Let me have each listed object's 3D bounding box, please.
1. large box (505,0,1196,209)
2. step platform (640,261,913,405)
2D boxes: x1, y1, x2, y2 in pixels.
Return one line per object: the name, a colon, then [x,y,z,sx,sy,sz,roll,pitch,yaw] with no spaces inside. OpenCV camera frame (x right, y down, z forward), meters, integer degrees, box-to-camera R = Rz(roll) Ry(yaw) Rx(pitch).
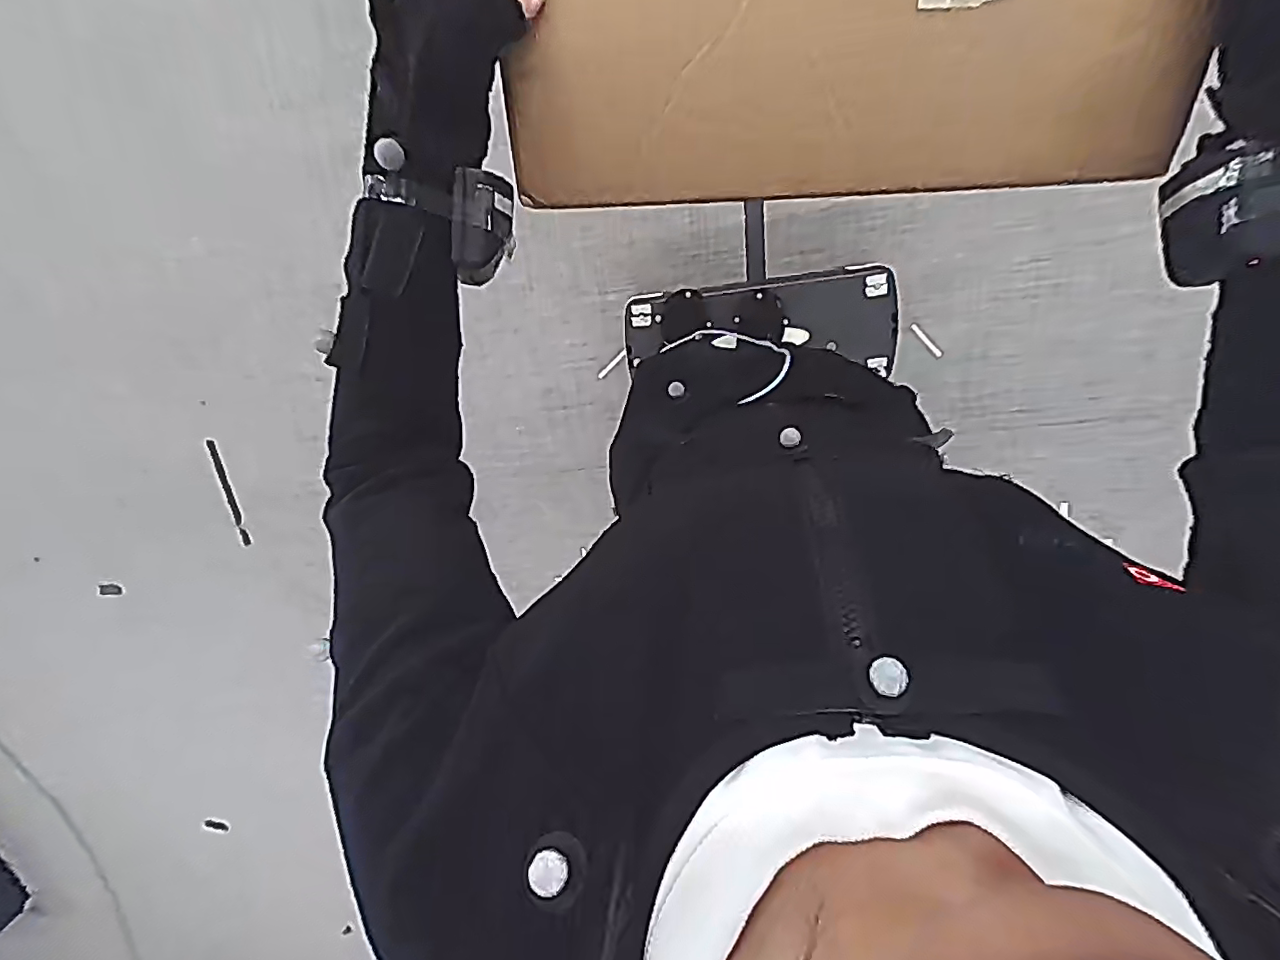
large box: [0.122,-0.401,0.420,0.408,0.320,0.320,0,120,5]
step platform: [0.343,-0.382,1.430,0.684,0.204,0.286,-6,109,9]
